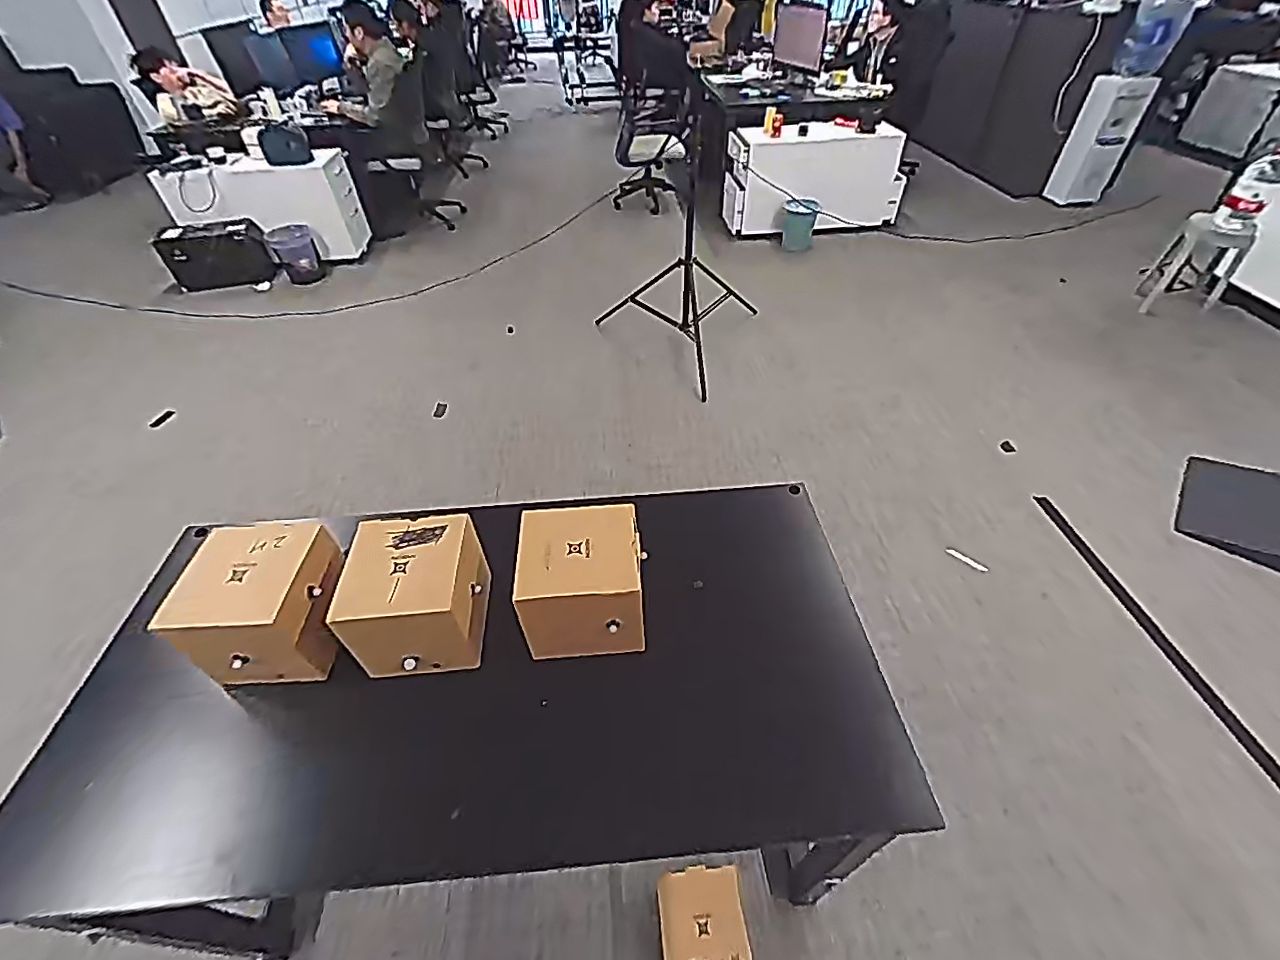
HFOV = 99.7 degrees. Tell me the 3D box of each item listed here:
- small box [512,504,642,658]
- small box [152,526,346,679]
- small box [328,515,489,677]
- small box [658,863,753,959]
[{"bbox_3d":[-0.089,0.158,0.840,0.179,0.176,0.168,-5,43,-1],"label":"small box"},{"bbox_3d":[-0.560,0.191,0.823,0.168,0.176,0.179,-2,44,-1],"label":"small box"},{"bbox_3d":[-0.336,0.177,0.829,0.168,0.176,0.179,-5,45,-3],"label":"small box"},{"bbox_3d":[0.125,0.912,1.101,0.168,0.176,0.179,-6,44,-2],"label":"small box"}]
